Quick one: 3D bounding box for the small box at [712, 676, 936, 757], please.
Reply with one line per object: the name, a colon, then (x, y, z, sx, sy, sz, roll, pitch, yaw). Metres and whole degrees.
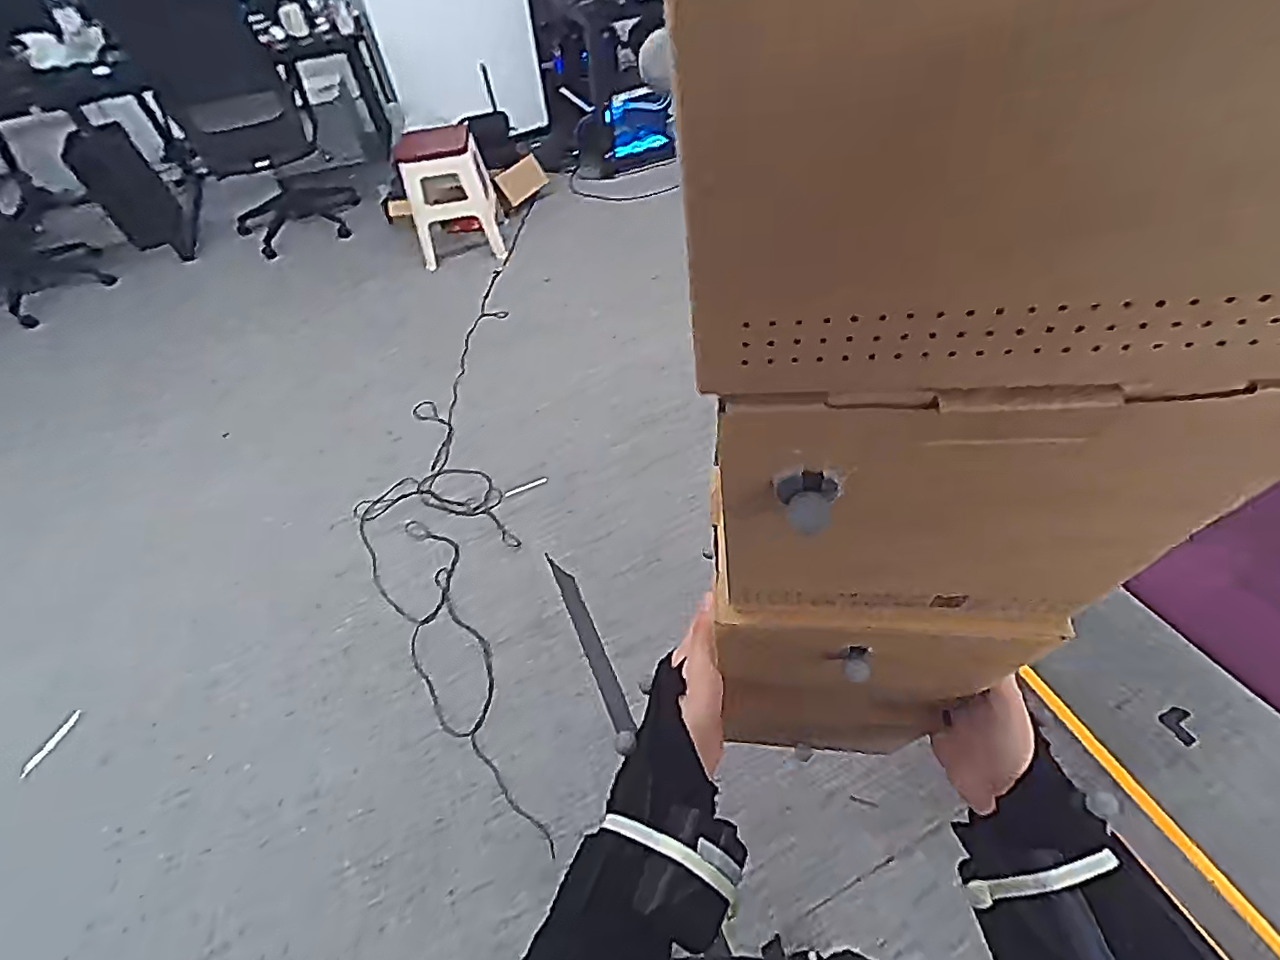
small box: (0.156, 0.152, 0.517, 0.168, 0.176, 0.179, 0, 57, 10)

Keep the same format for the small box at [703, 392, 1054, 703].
small box: (0.138, 0.055, 0.387, 0.179, 0.176, 0.168, -1, 57, 10)
